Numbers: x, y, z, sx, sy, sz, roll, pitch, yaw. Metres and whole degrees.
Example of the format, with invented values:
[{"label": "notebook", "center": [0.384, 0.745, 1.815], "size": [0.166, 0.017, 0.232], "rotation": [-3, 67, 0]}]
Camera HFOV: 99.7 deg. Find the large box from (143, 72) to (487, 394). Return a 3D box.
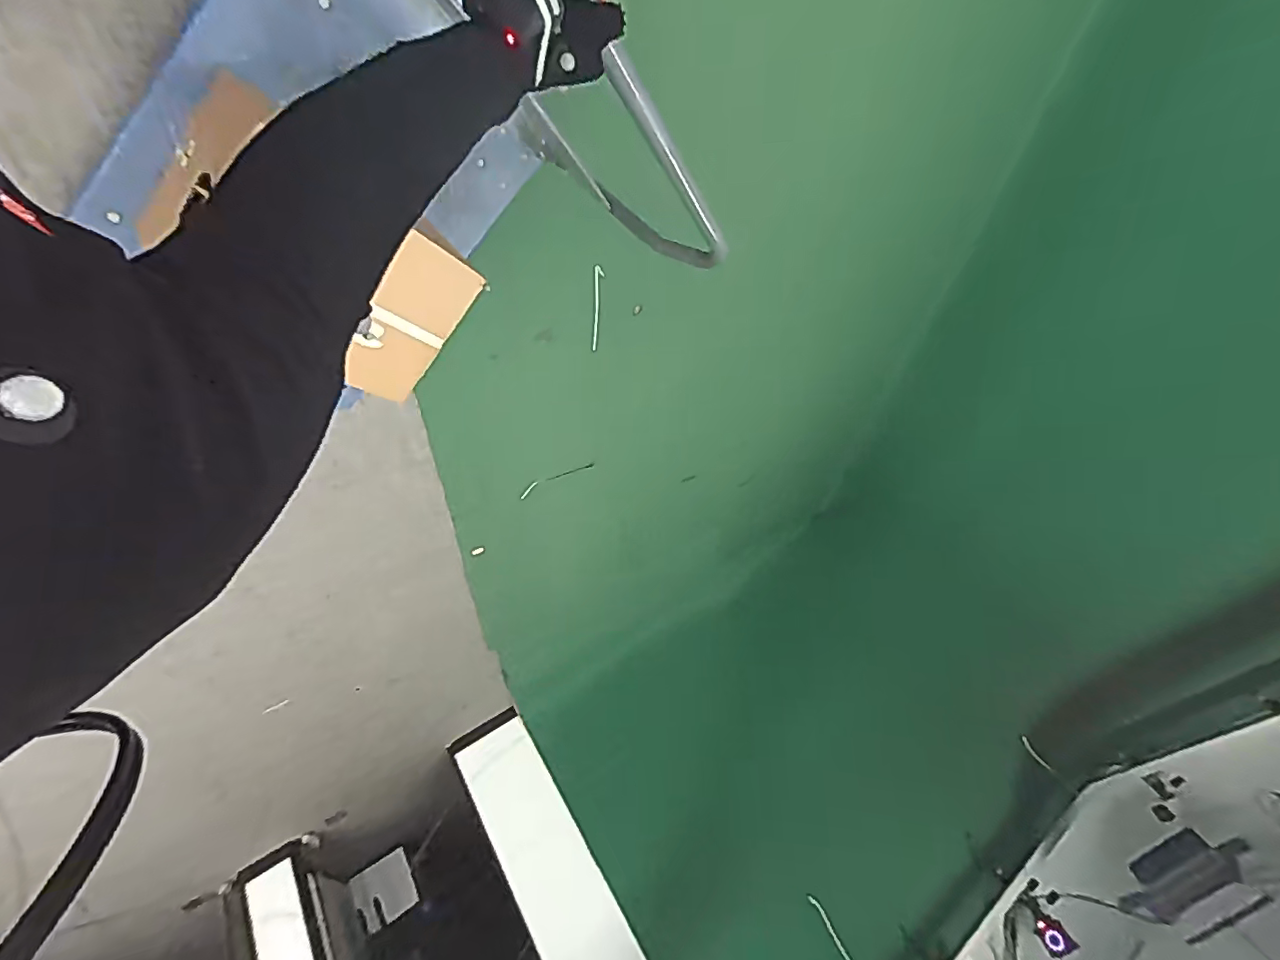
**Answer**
[{"label": "large box", "center": [-0.576, -0.417, 0.983], "size": [0.320, 0.320, 0.408], "rotation": [-49, 149, 13]}]
